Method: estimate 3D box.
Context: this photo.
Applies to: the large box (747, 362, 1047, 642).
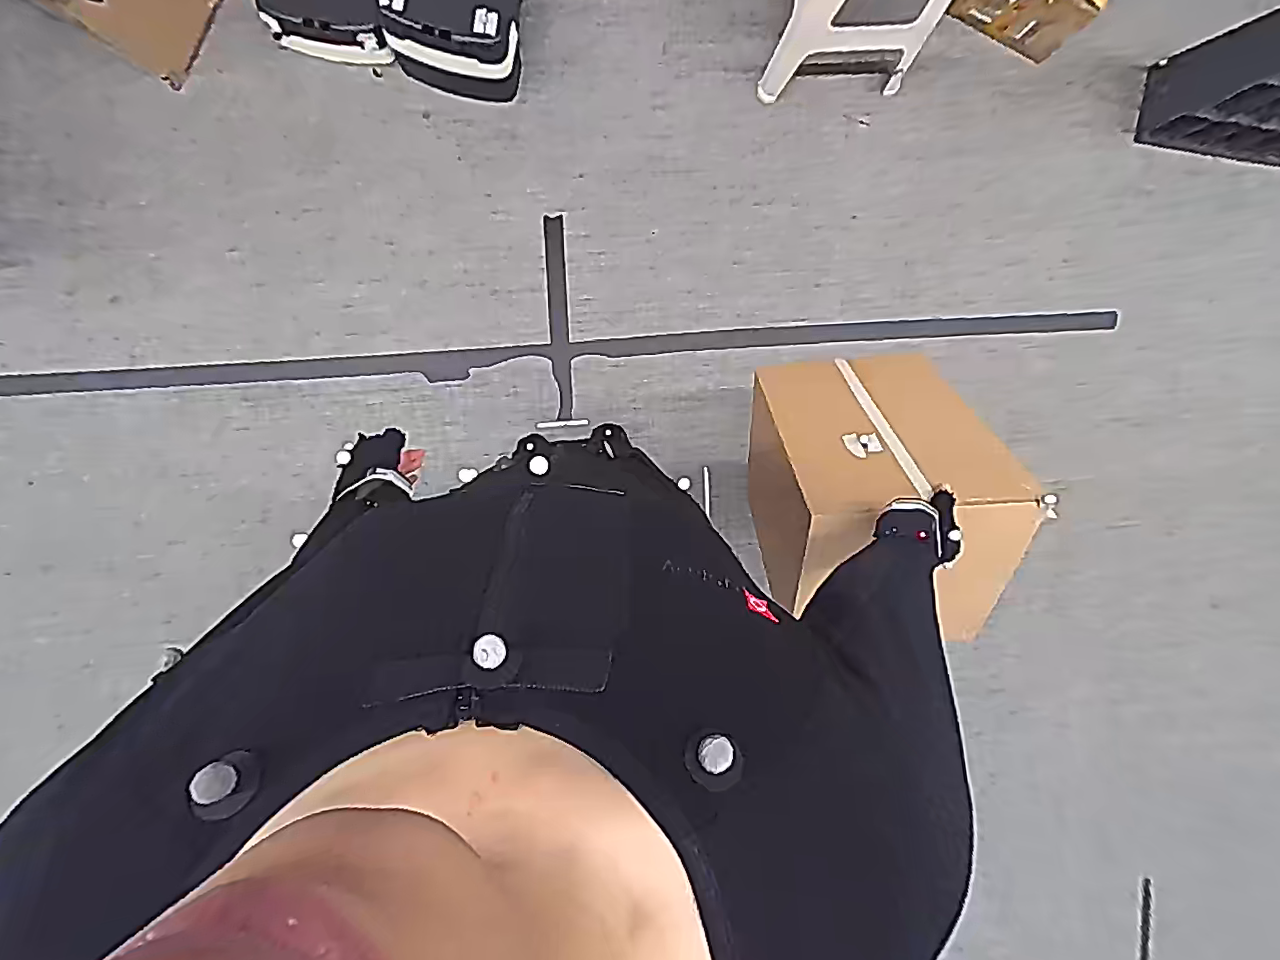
[{"bbox_3d":[0.391,0.027,0.966,0.320,0.408,0.320,-4,131,1],"label":"large box"}]
